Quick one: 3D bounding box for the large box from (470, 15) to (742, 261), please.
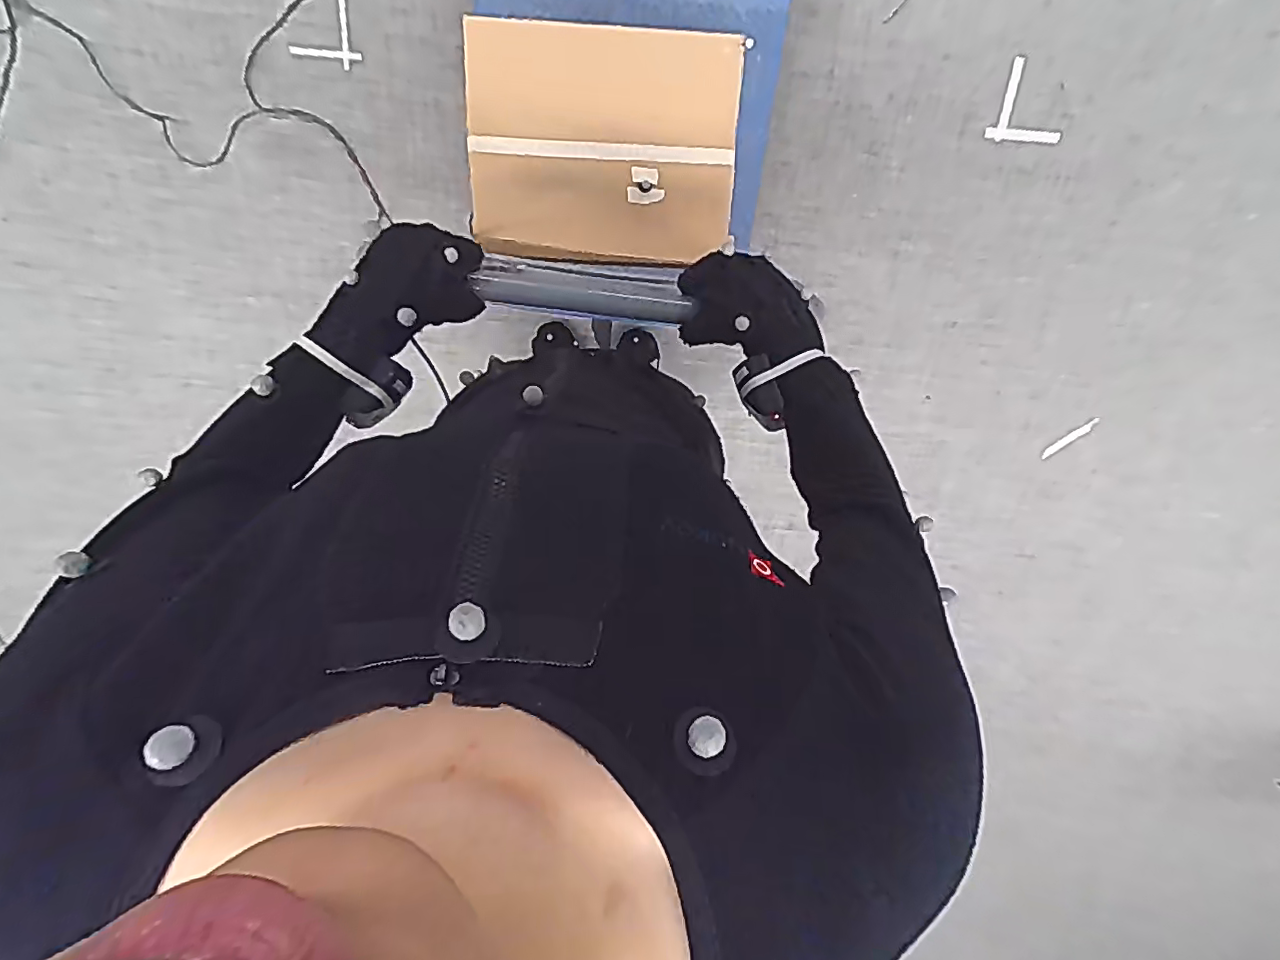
[{"bbox_3d":[-0.058,-0.570,0.974,0.408,0.320,0.320,1,111,-3],"label":"large box"}]
